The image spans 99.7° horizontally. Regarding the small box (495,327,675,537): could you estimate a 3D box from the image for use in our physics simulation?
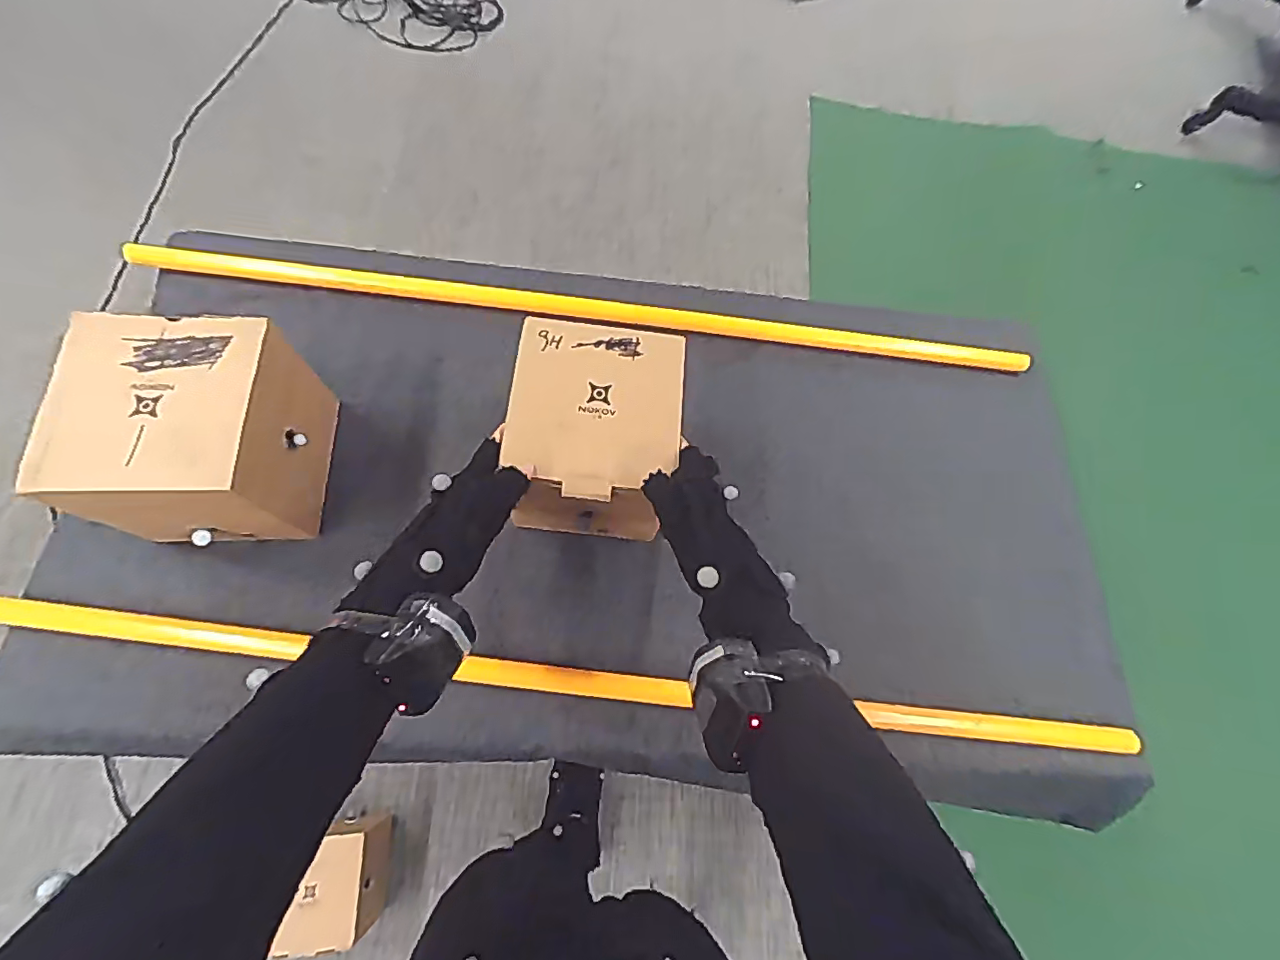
[{"bbox_3d":[-0.053,-0.041,0.597,0.168,0.176,0.179,3,68,-4],"label":"small box"}]

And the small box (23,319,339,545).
[{"bbox_3d":[-0.432,-0.039,0.550,0.168,0.176,0.179,0,70,-6],"label":"small box"}]
